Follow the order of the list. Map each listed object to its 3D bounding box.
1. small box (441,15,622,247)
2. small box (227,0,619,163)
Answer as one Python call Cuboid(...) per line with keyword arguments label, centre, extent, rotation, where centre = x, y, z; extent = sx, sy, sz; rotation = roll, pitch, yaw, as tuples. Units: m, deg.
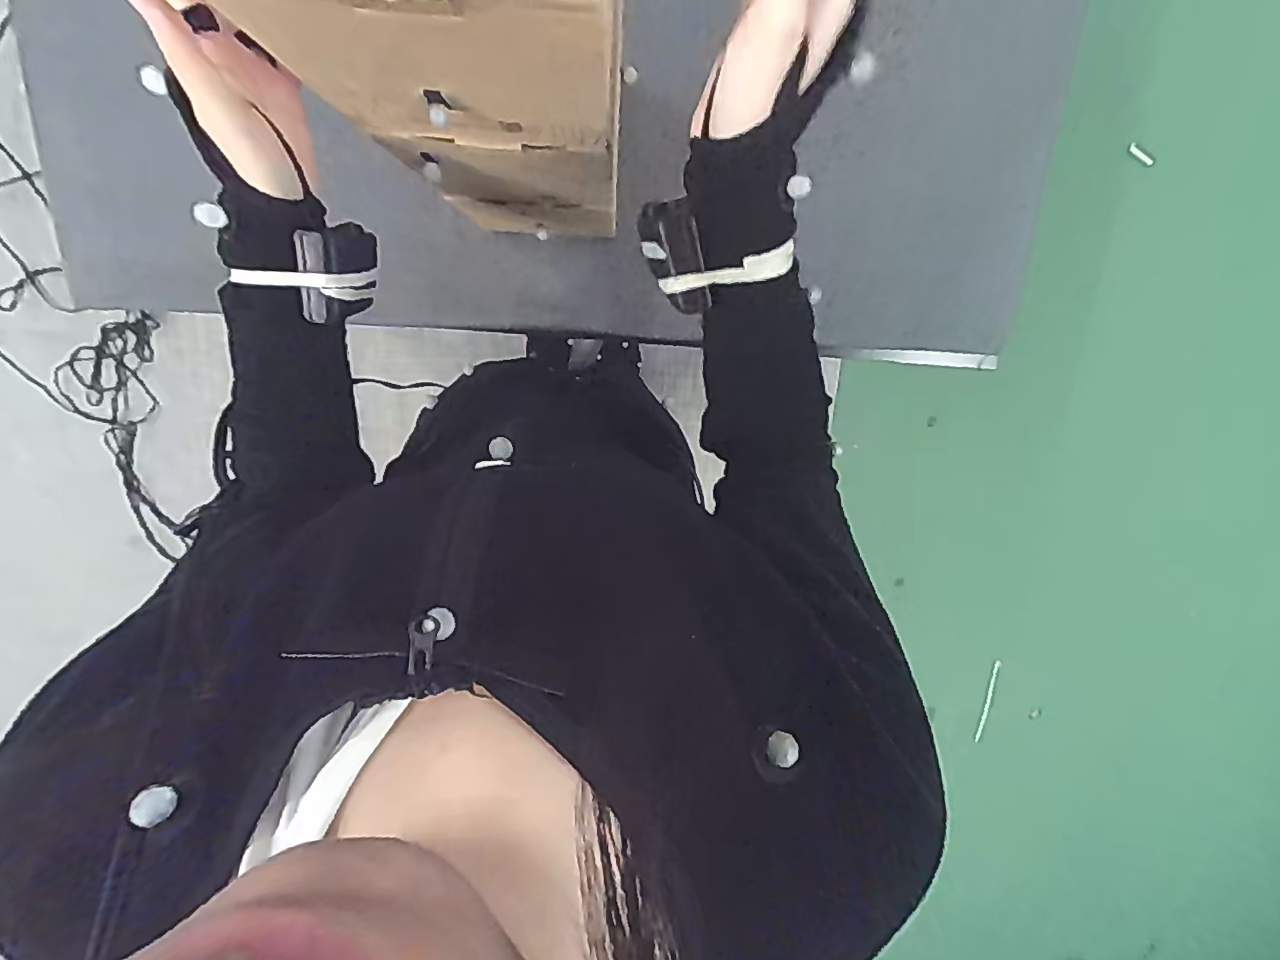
Cuboid(label="small box", centre=(-0.108, -0.364, 0.582), extent=(0.168, 0.176, 0.179), rotation=(2, 105, -3))
Cuboid(label="small box", centre=(-0.092, -0.285, 0.266), extent=(0.168, 0.176, 0.179), rotation=(2, 104, -4))
